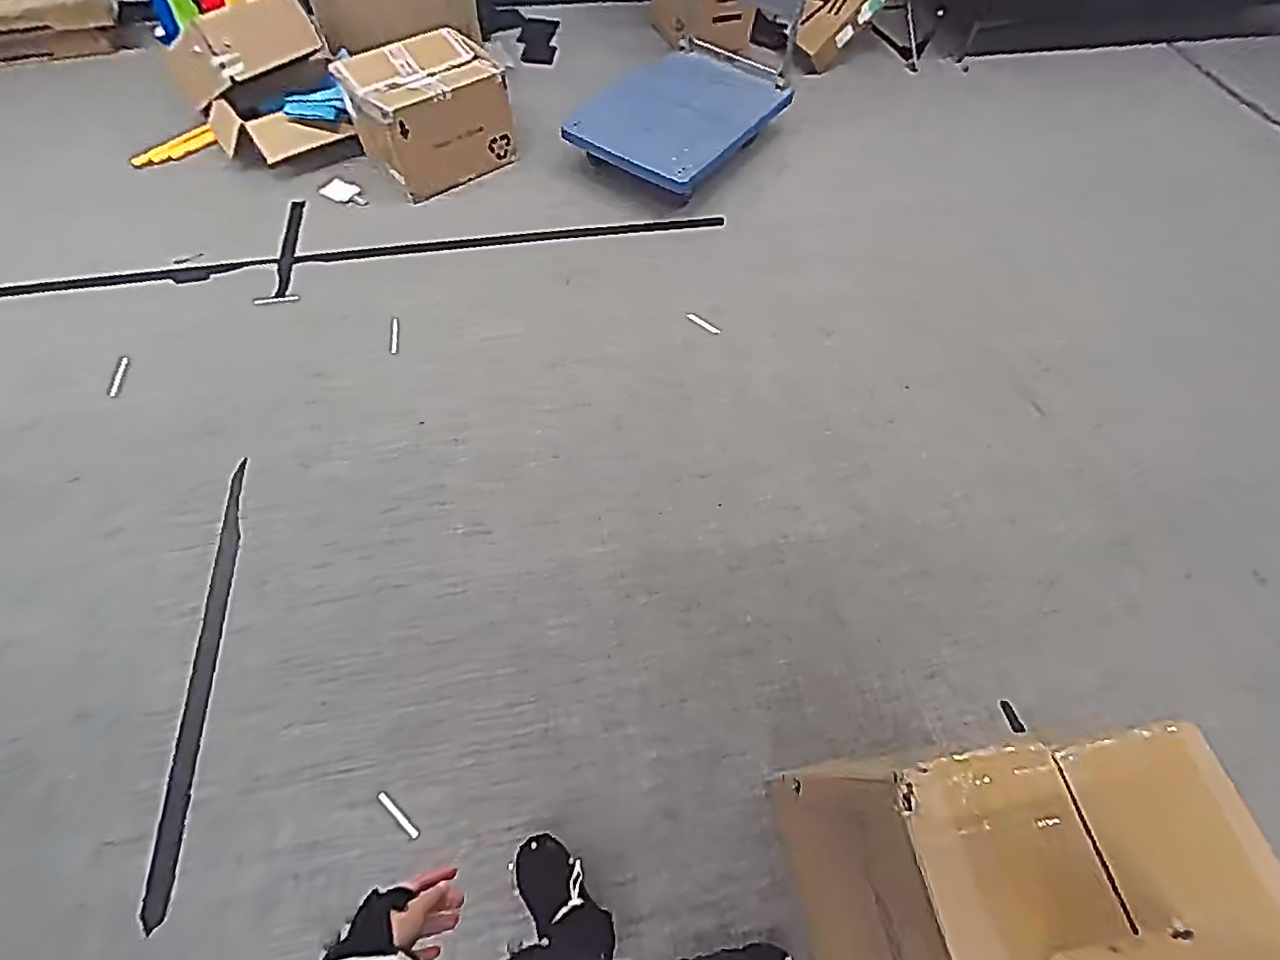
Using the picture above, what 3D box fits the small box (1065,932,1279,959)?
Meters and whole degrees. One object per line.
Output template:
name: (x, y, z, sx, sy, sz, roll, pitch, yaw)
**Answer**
small box: (0.518, 0.513, 0.453, 0.168, 0.176, 0.179, -8, 62, -5)
